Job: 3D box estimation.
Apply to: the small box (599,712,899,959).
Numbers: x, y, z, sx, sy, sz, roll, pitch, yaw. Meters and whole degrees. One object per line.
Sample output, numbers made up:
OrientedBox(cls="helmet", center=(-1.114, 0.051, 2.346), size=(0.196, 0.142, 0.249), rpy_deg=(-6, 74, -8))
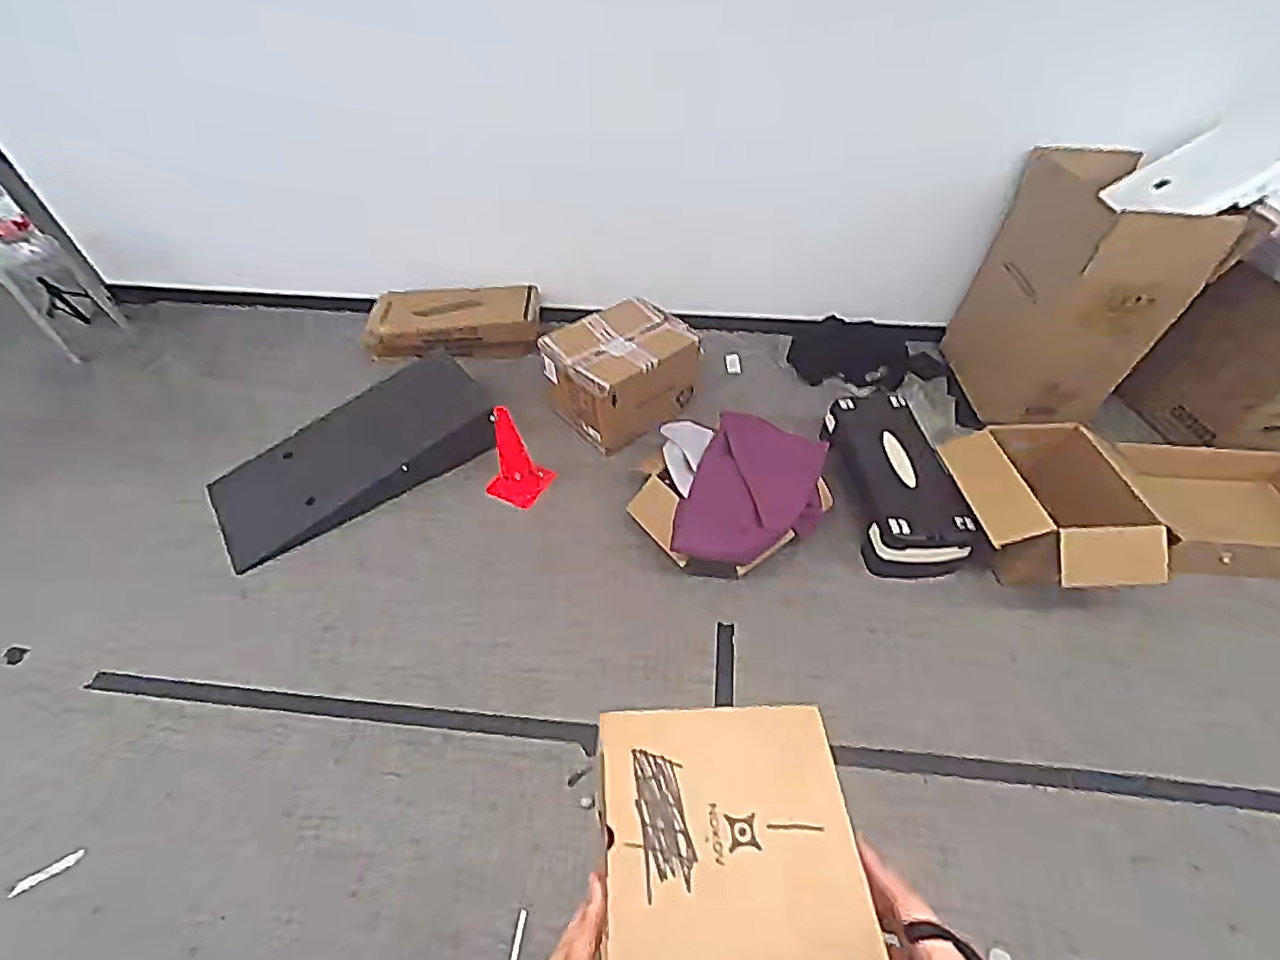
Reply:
OrientedBox(cls="small box", center=(0.058, 0.294, 0.418), size=(0.179, 0.176, 0.168), rpy_deg=(2, 47, -7))
